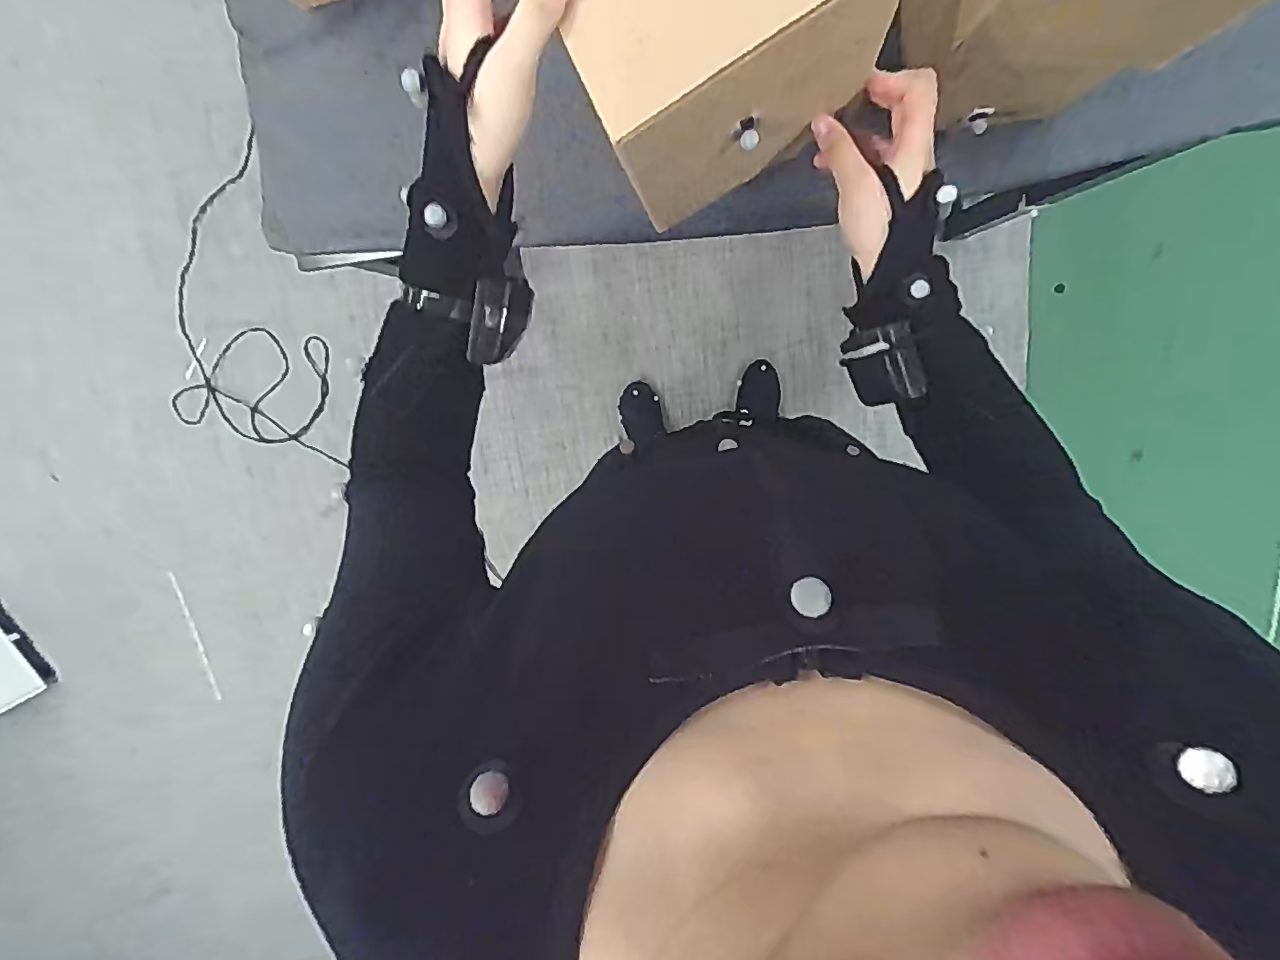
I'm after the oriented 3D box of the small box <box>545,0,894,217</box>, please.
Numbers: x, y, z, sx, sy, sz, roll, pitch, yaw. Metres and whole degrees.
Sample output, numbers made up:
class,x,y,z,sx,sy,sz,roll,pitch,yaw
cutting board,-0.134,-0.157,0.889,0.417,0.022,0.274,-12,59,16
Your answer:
class,x,y,z,sx,sy,sz,roll,pitch,yaw
small box,0.040,-0.310,0.355,0.179,0.176,0.168,-25,93,14

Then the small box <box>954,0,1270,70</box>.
class,x,y,z,sx,sy,sz,roll,pitch,yaw
small box,0.356,-0.414,0.368,0.179,0.176,0.168,7,103,5

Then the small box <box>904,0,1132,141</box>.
class,x,y,z,sx,sy,sz,roll,pitch,yaw
small box,0.370,-0.464,0.522,0.168,0.176,0.179,-4,103,7
